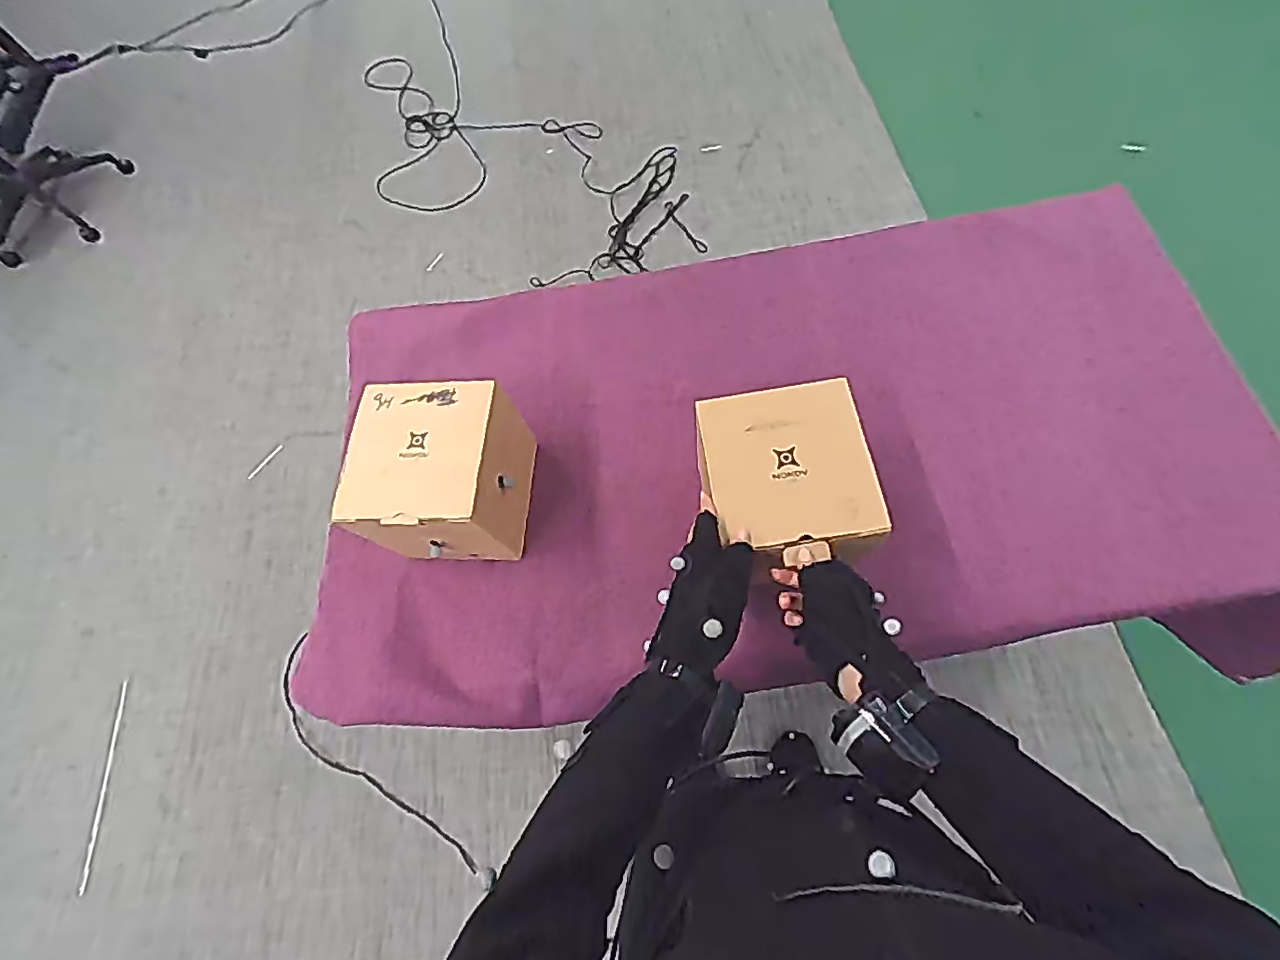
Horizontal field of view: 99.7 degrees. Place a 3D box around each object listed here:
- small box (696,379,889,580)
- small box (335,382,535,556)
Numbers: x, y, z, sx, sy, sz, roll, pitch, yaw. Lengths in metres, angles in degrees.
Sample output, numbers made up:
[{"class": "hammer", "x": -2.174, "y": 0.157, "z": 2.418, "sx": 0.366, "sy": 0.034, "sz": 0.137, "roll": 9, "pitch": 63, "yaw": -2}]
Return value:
[{"class": "small box", "x": 0.160, "y": 0.012, "z": 0.624, "sx": 0.168, "sy": 0.176, "sz": 0.179, "roll": -8, "pitch": 66, "yaw": 4}, {"class": "small box", "x": -0.241, "y": -0.004, "z": 0.685, "sx": 0.168, "sy": 0.176, "sz": 0.179, "roll": 0, "pitch": 68, "yaw": 7}]
